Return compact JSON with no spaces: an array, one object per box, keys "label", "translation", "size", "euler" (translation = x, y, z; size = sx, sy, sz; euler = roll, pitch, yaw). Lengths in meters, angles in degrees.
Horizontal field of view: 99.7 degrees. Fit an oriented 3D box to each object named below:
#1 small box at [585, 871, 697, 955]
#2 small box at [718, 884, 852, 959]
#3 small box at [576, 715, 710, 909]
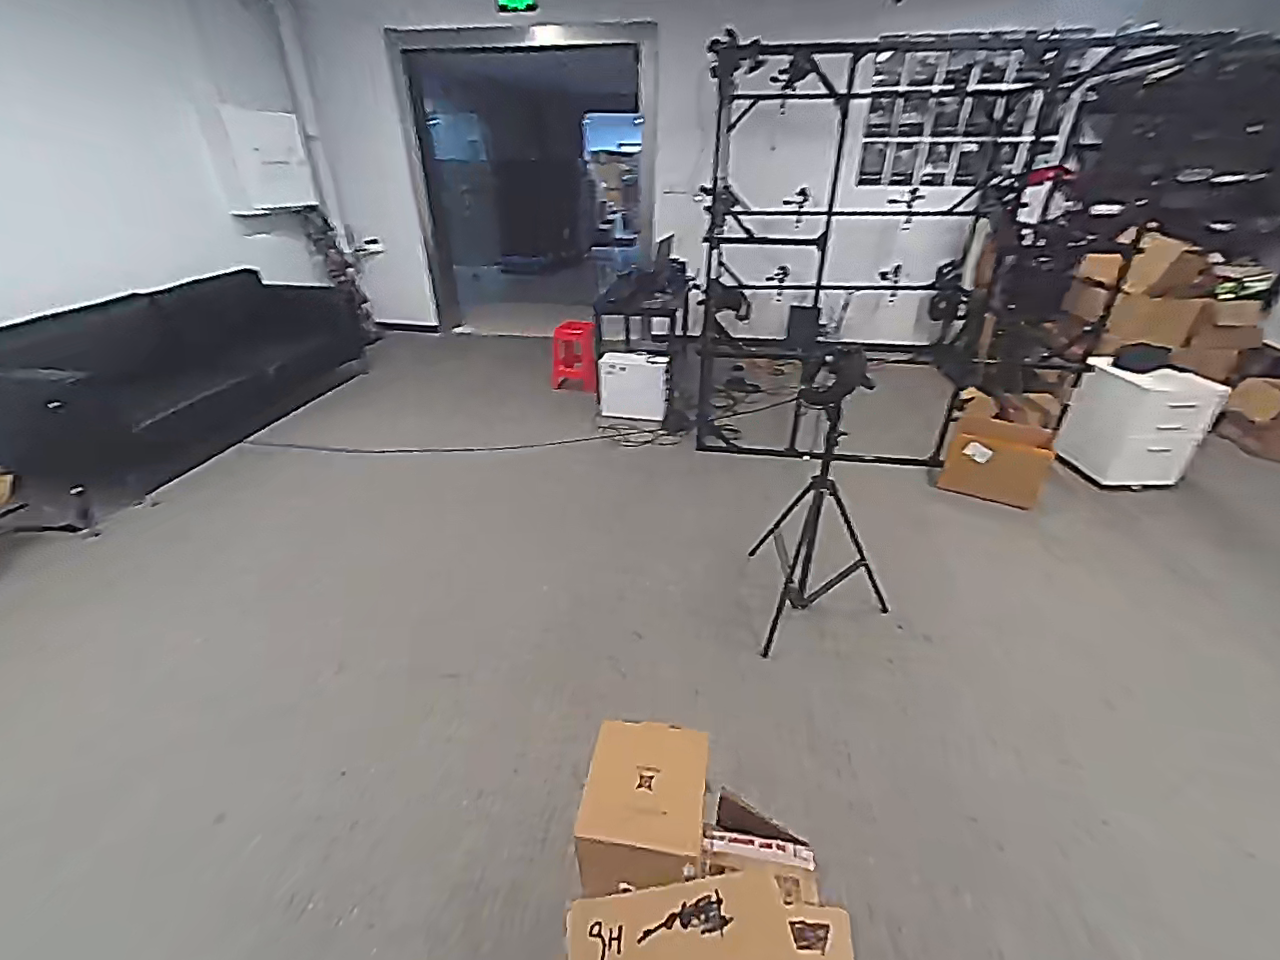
[{"label":"small box","translation":[0.014,0.622,0.883],"size":[0.168,0.176,0.179],"euler":[4,32,9]},{"label":"small box","translation":[0.194,0.707,0.744],"size":[0.168,0.176,0.179],"euler":[5,33,8]},{"label":"small box","translation":[0.012,0.483,0.798],"size":[0.168,0.176,0.179],"euler":[3,32,10]}]
